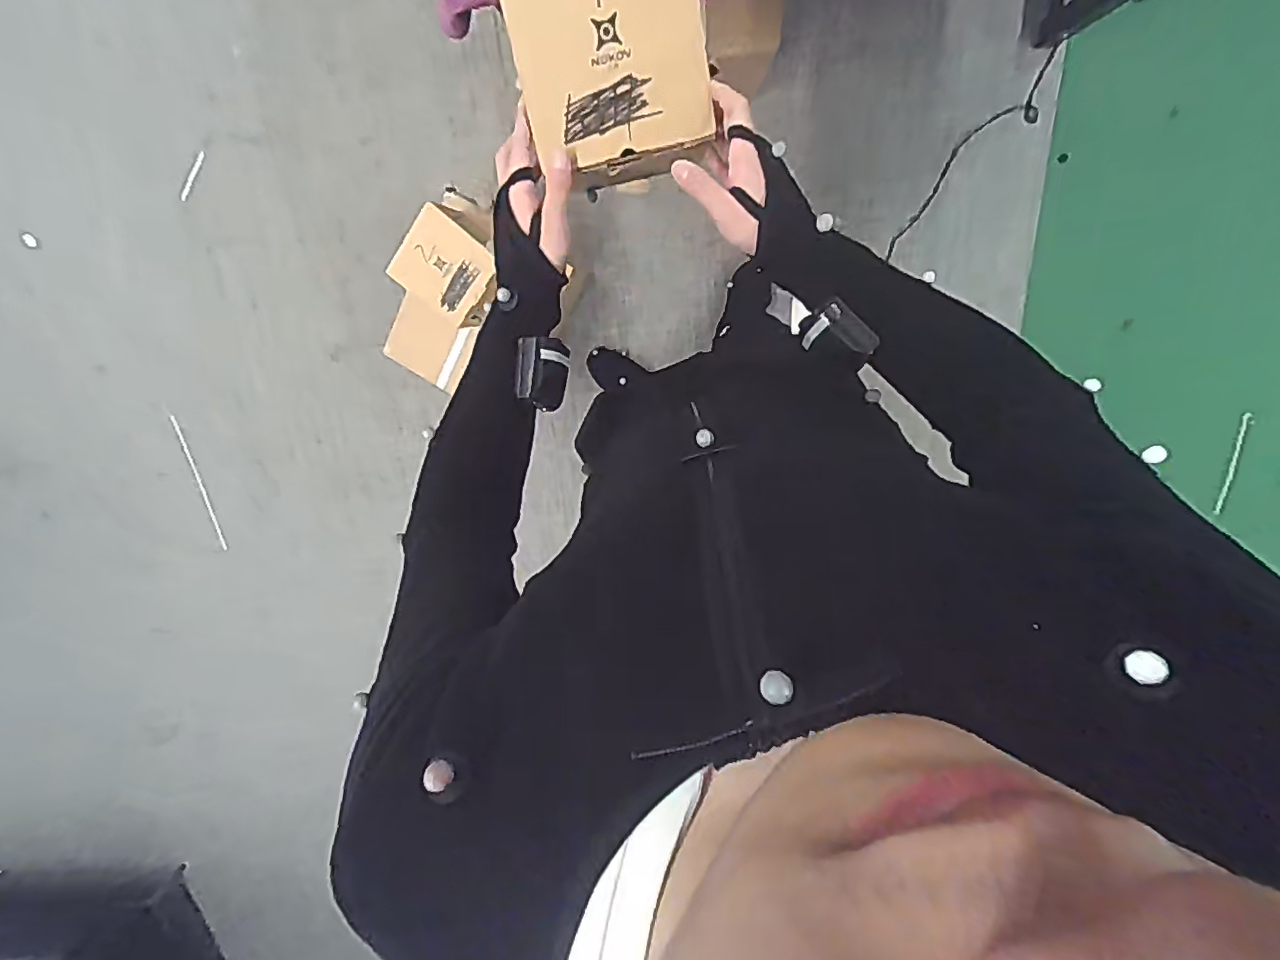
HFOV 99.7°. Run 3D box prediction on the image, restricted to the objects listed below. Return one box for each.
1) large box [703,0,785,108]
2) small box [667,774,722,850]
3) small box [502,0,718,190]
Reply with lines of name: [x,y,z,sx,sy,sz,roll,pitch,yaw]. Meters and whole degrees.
large box: [0.114,-1.047,1.131,0.320,0.320,0.408,-4,108,4]
small box: [0.195,1.185,1.937,0.179,0.176,0.168,-7,108,6]
small box: [-0.023,-0.398,0.529,0.168,0.176,0.179,-11,111,5]
